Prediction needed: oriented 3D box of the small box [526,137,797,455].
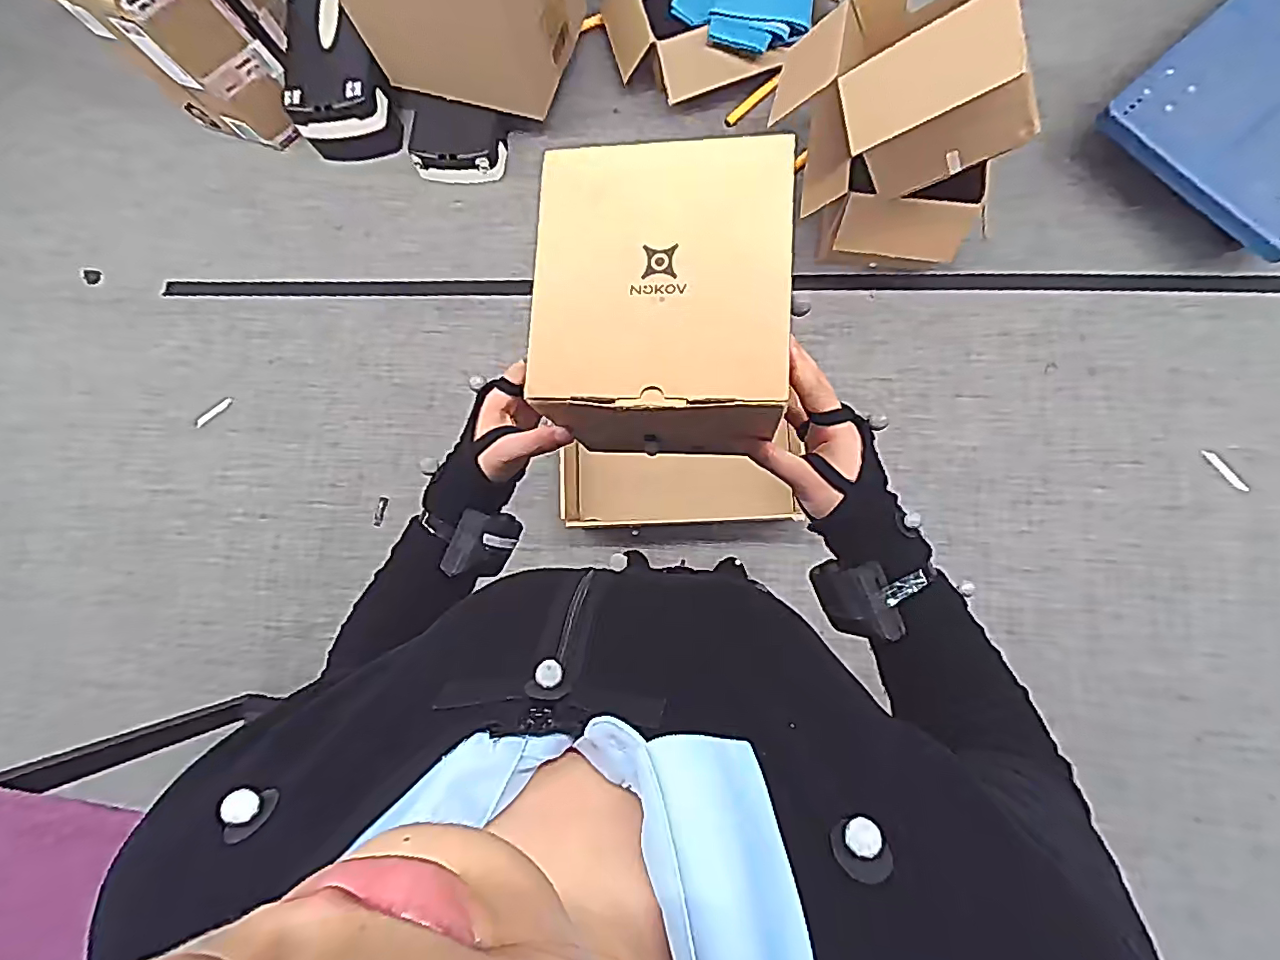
[{"bbox_3d":[0.024,-0.123,0.419,0.168,0.176,0.179,2,83,9],"label":"small box"}]
